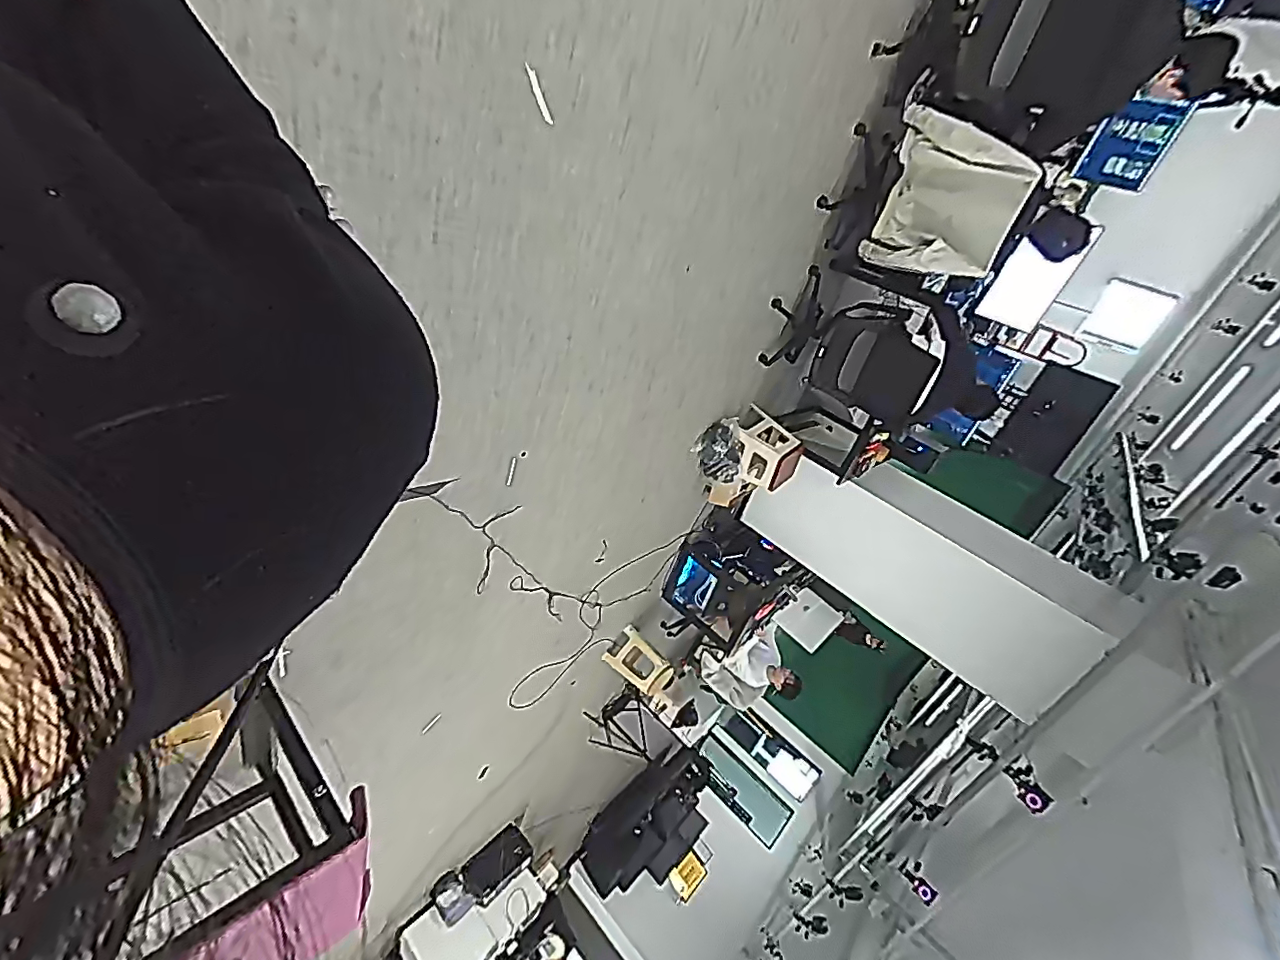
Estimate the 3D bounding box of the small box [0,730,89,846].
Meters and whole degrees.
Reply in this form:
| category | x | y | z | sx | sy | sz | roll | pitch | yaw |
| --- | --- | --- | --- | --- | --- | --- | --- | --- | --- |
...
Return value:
| category | x | y | z | sx | sy | sz | roll | pitch | yaw |
| --- | --- | --- | --- | --- | --- | --- | --- | --- | --- |
| small box | -1.622 | 0.816 | 1.449 | 0.168 | 0.176 | 0.179 | -18 | 135 | -48 |
